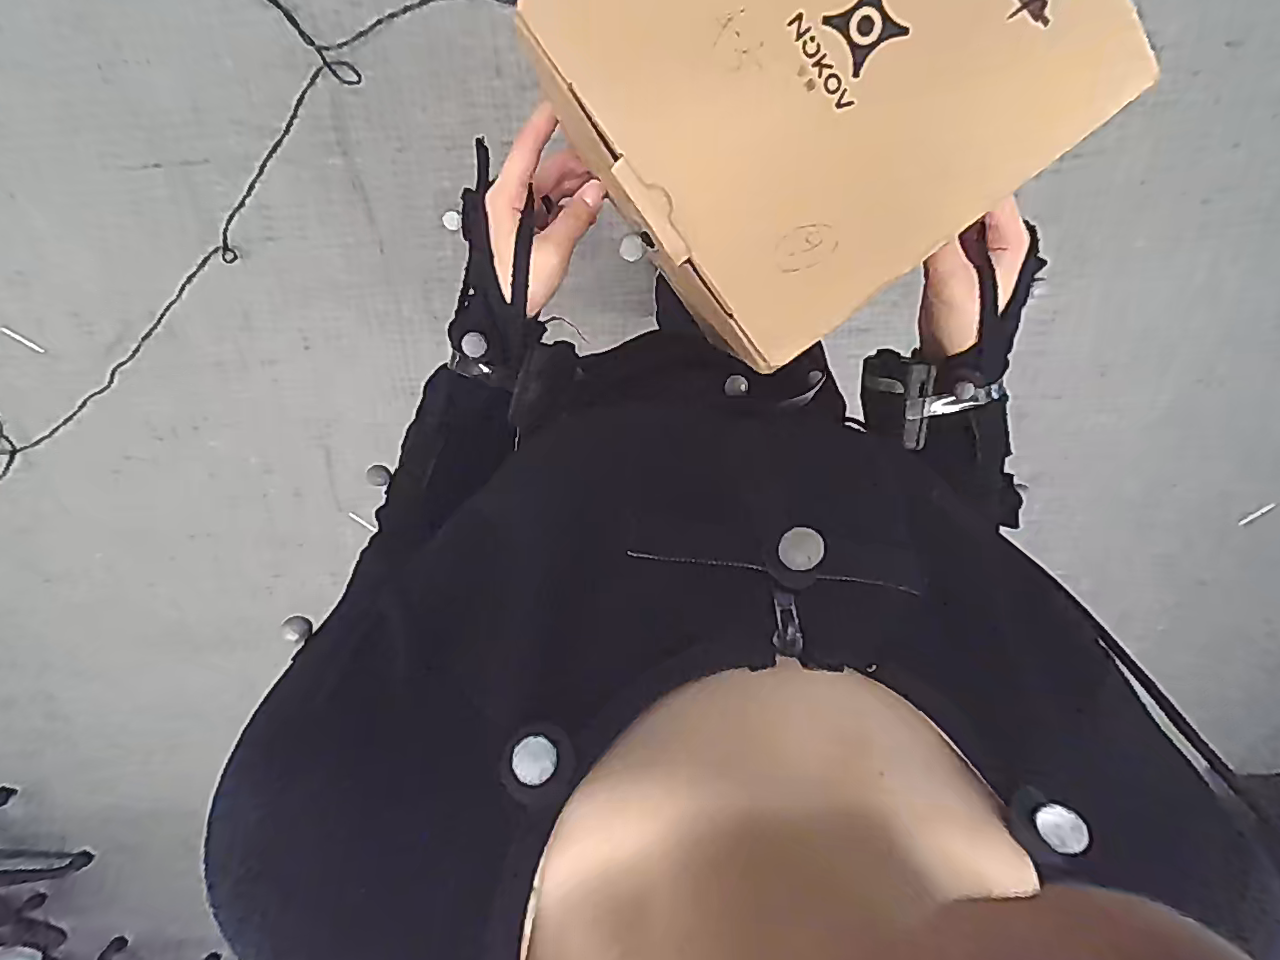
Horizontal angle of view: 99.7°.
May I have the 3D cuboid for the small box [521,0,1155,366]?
[{"bbox_3d":[0.074,-0.181,0.272,0.179,0.176,0.168,-36,104,11],"label":"small box"}]
